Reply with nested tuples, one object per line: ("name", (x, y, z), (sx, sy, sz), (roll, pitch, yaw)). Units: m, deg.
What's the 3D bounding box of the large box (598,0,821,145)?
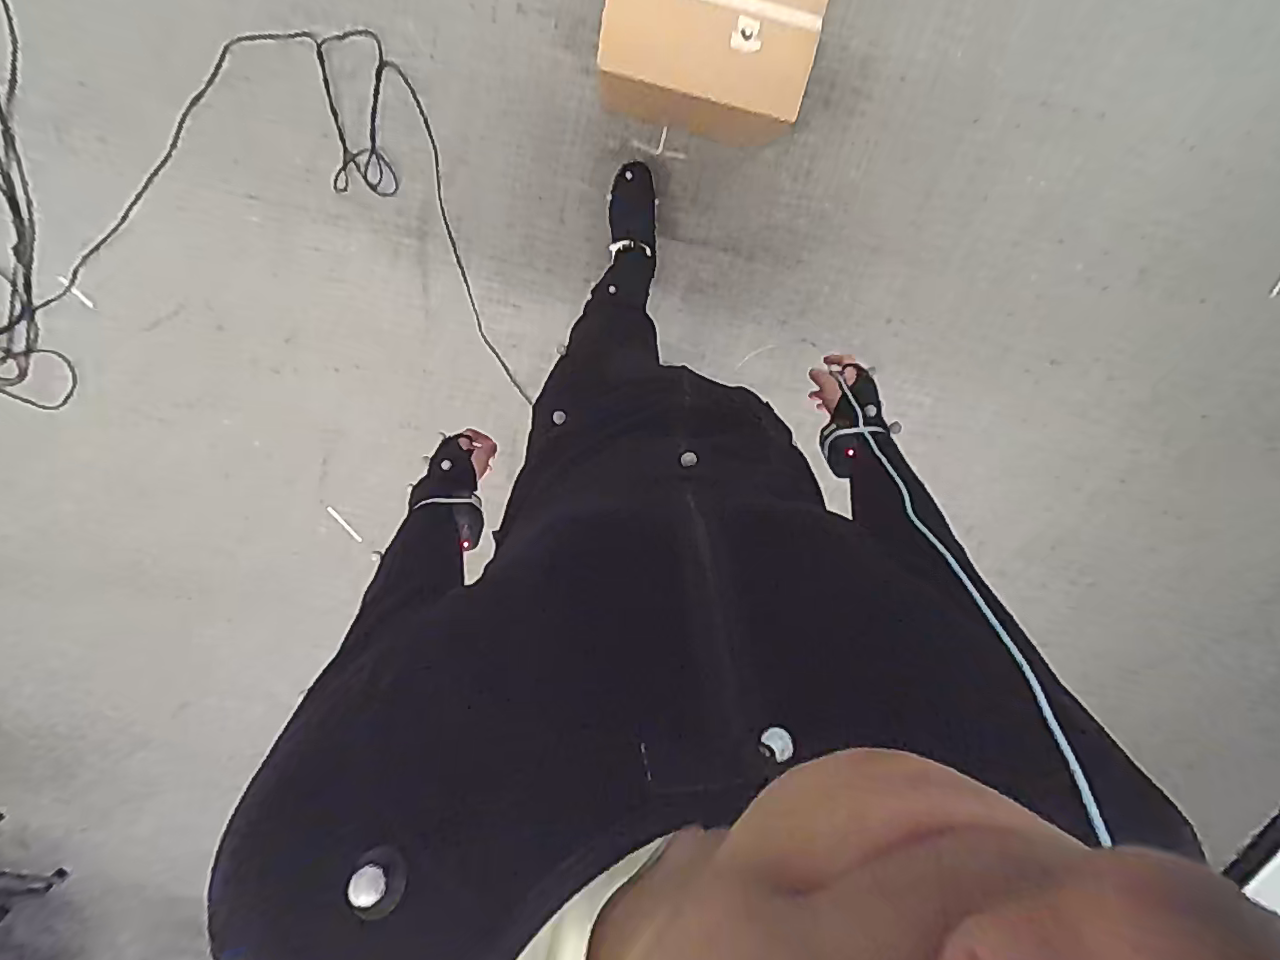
("large box", (0.131, -0.952, 1.140), (0.408, 0.320, 0.320), (10, 111, -6))
